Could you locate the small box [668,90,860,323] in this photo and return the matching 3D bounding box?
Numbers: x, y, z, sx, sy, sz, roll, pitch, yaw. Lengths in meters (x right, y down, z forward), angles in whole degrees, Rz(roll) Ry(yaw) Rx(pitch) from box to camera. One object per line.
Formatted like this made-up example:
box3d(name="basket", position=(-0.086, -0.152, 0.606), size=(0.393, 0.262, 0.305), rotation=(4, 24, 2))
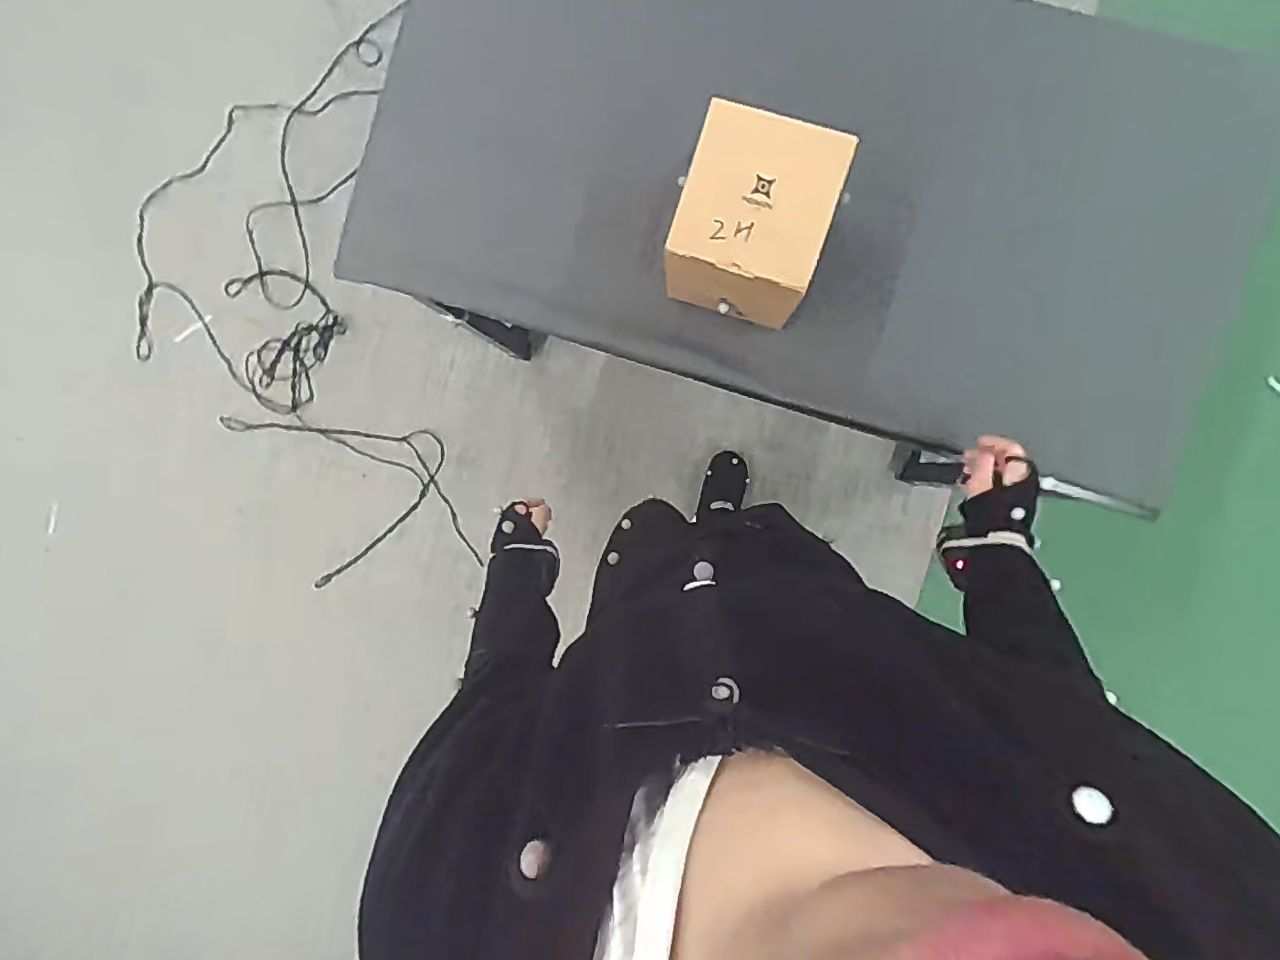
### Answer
box3d(name="small box", position=(0.138, -0.317, 0.662), size=(0.168, 0.176, 0.179), rotation=(19, 93, 4))
